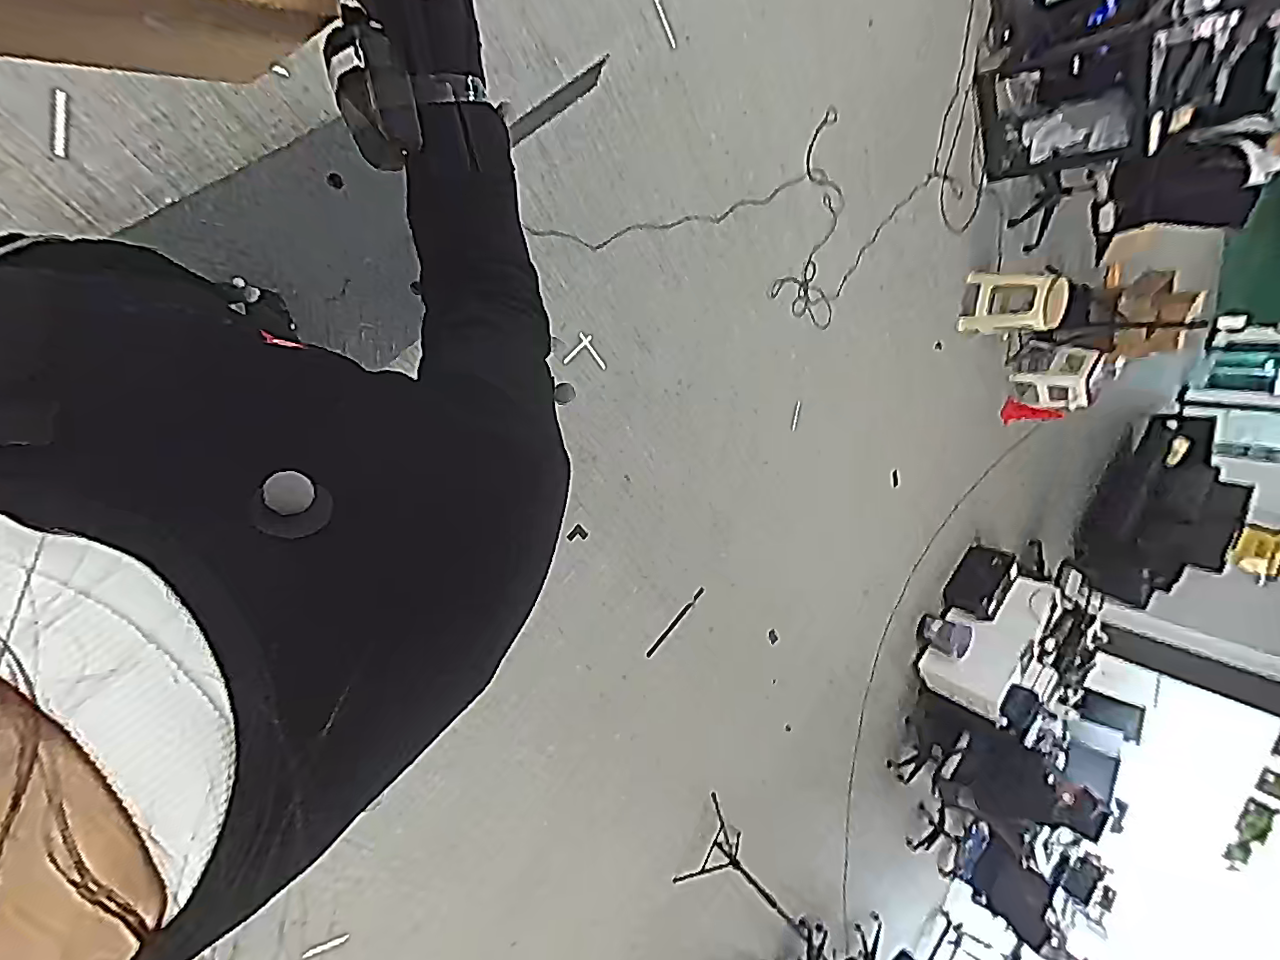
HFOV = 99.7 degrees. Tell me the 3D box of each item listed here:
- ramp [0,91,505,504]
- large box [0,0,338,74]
[{"bbox_3d":[-0.785,-0.464,1.270,0.991,0.206,0.509,-48,125,-18],"label":"ramp"},{"bbox_3d":[-0.416,-0.398,0.224,0.408,0.320,0.320,-21,127,-35],"label":"large box"}]
